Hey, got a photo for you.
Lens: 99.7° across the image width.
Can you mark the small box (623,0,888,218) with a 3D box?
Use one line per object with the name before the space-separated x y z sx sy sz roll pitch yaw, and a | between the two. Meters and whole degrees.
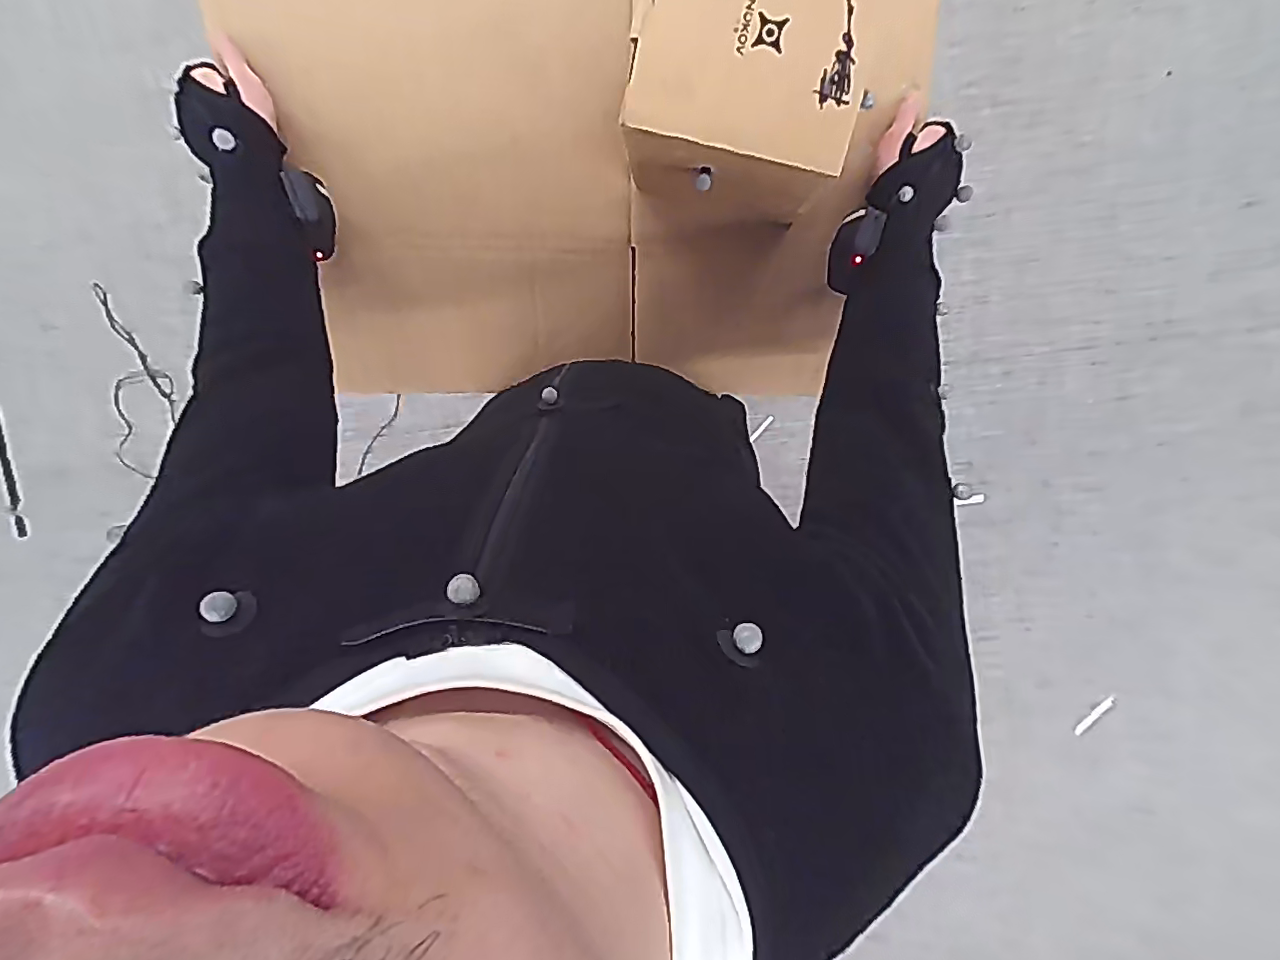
small box | 0.095 -0.352 0.481 0.179 0.176 0.168 14 104 1
